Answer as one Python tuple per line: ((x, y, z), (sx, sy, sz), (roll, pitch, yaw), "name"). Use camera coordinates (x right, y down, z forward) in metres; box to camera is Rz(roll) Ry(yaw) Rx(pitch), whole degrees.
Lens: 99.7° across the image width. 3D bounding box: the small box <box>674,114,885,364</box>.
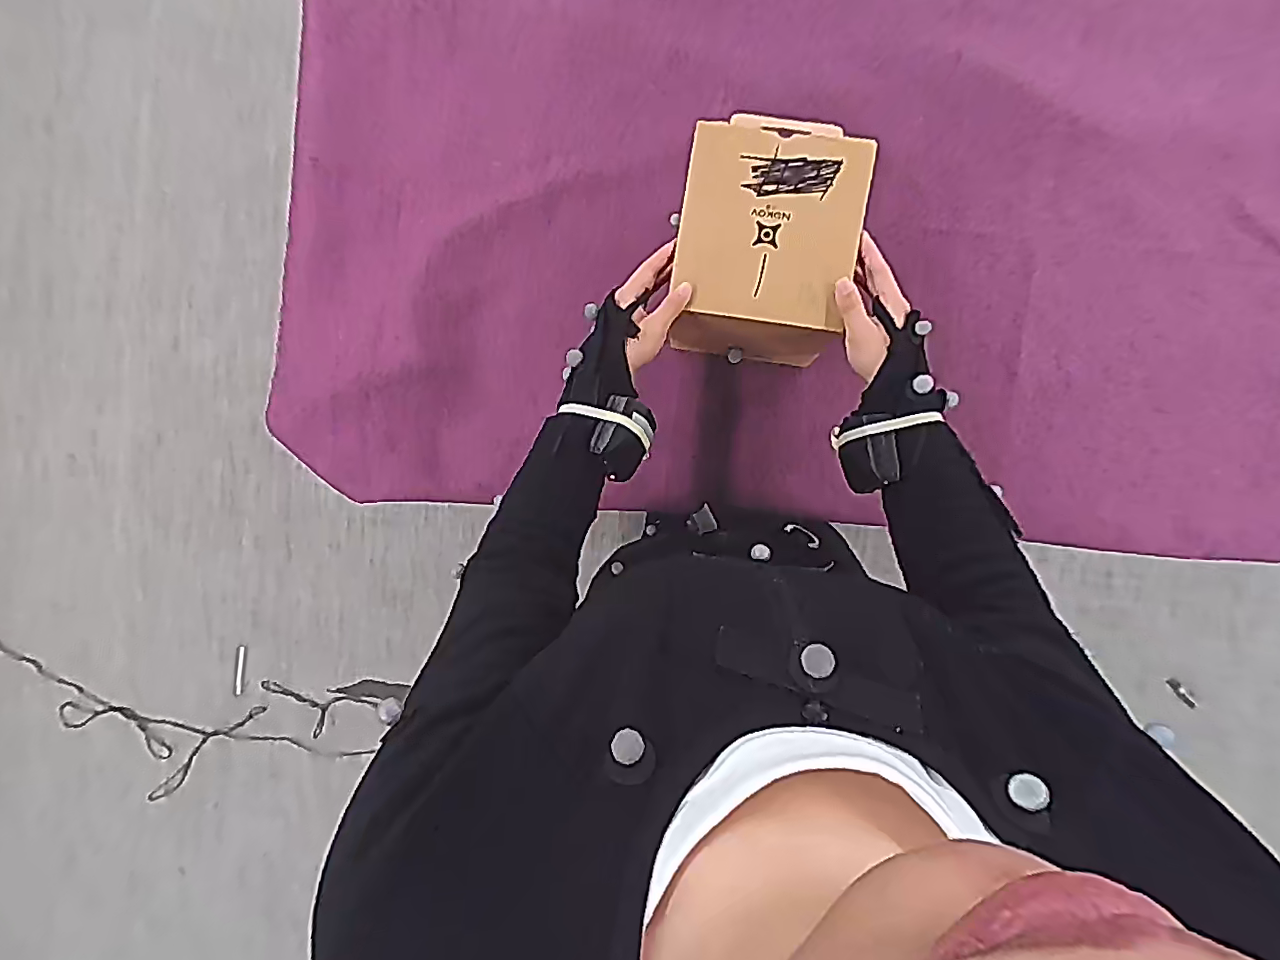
((0.130, -0.234, 0.565), (0.168, 0.176, 0.179), (10, 92, 5), "small box")
